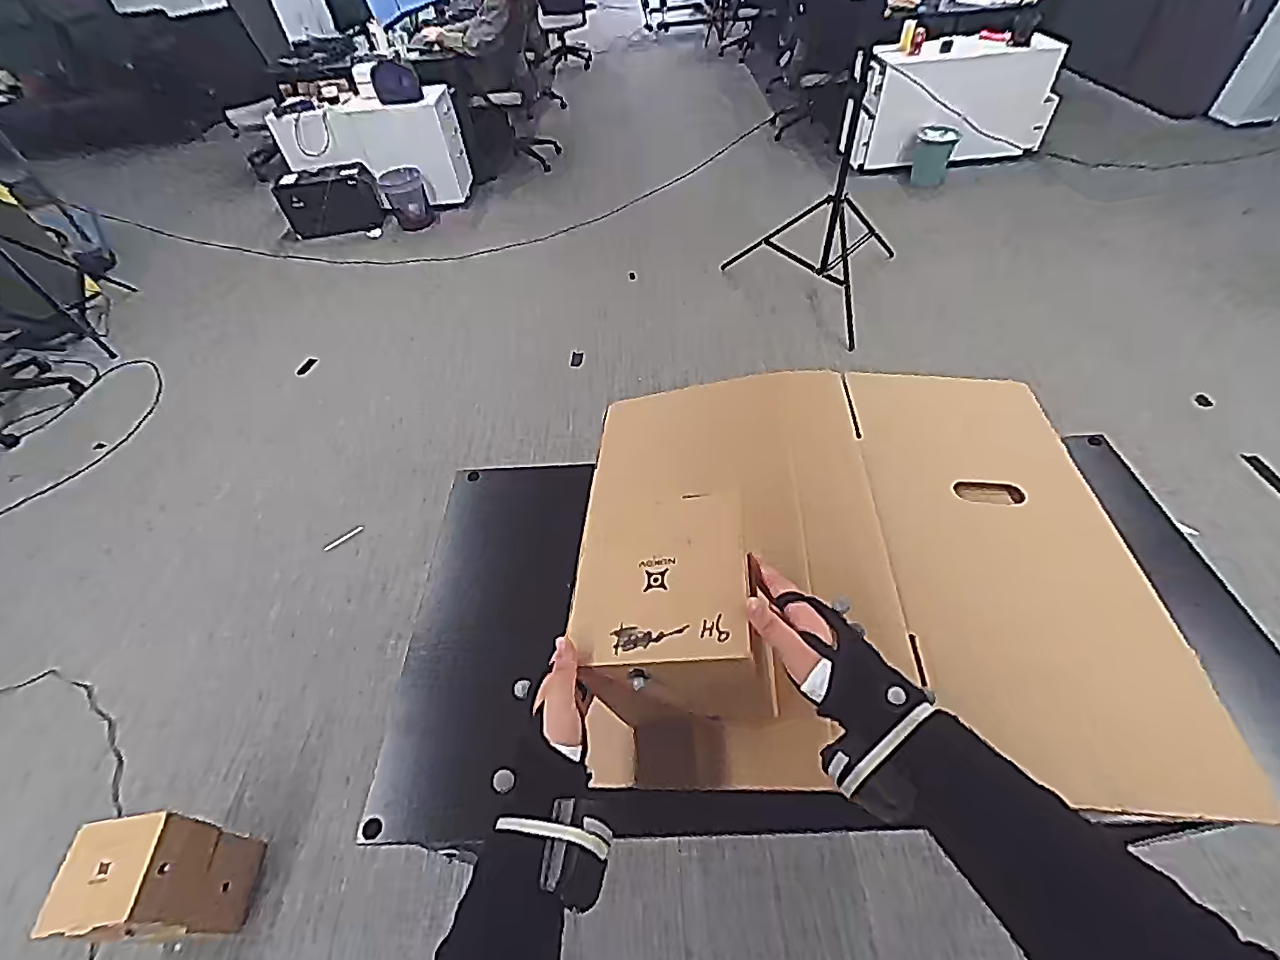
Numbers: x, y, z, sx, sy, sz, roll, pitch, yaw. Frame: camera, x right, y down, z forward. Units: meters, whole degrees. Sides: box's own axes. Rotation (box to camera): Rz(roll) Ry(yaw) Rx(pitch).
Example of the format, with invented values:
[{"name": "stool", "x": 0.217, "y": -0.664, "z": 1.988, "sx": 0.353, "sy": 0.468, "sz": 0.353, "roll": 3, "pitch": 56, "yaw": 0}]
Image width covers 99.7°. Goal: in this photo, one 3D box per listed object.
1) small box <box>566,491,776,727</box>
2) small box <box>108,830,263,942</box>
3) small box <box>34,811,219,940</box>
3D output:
[{"name": "small box", "x": 0.044, "y": 0.138, "z": 0.562, "sx": 0.168, "sy": 0.176, "sz": 0.179, "roll": -9, "pitch": 47, "yaw": 17}, {"name": "small box", "x": -0.968, "y": 0.884, "z": 1.176, "sx": 0.168, "sy": 0.176, "sz": 0.179, "roll": -6, "pitch": 50, "yaw": 0}, {"name": "small box", "x": -0.980, "y": 0.774, "z": 1.057, "sx": 0.168, "sy": 0.176, "sz": 0.179, "roll": -8, "pitch": 48, "yaw": -3}]
